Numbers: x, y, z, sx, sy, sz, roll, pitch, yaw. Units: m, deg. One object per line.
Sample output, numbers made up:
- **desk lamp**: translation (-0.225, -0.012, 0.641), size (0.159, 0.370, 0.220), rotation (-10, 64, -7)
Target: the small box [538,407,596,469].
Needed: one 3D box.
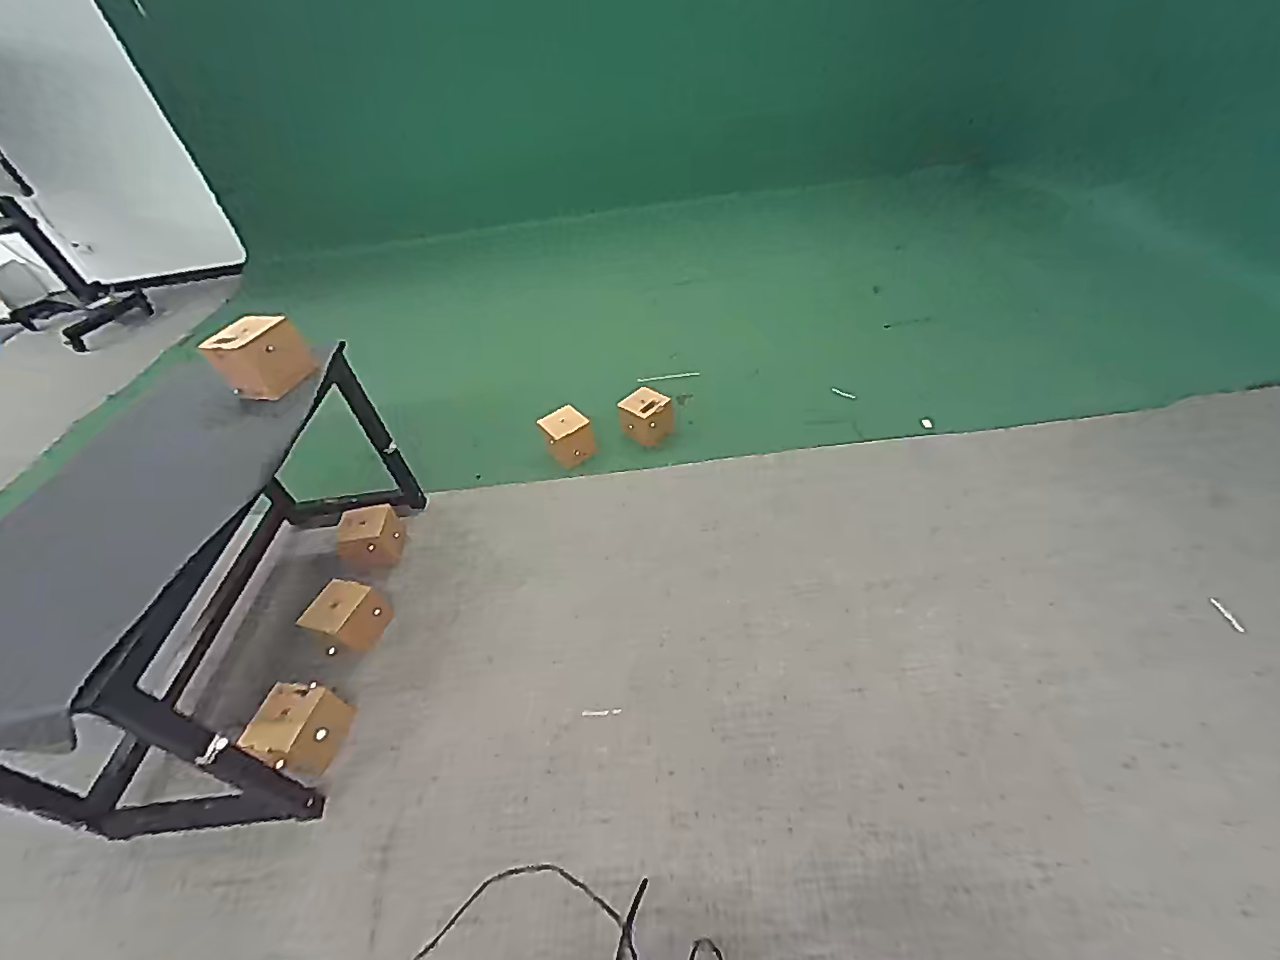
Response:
- **small box**: translation (-0.310, -0.179, 2.315), size (0.168, 0.176, 0.179), rotation (-32, 48, -22)

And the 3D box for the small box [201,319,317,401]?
- **small box**: translation (-1.082, -0.344, 1.553), size (0.168, 0.176, 0.179), rotation (6, 47, 20)

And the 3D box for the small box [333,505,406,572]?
- **small box**: translation (-0.997, 0.221, 2.013), size (0.179, 0.176, 0.168), rotation (-10, 43, -1)

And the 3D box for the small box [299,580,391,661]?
- **small box**: translation (-0.947, 0.458, 1.760), size (0.168, 0.176, 0.179), rotation (7, 47, 18)

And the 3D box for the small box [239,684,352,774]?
- **small box**: translation (-0.946, 0.697, 1.509), size (0.168, 0.176, 0.179), rotation (2, 45, 12)
